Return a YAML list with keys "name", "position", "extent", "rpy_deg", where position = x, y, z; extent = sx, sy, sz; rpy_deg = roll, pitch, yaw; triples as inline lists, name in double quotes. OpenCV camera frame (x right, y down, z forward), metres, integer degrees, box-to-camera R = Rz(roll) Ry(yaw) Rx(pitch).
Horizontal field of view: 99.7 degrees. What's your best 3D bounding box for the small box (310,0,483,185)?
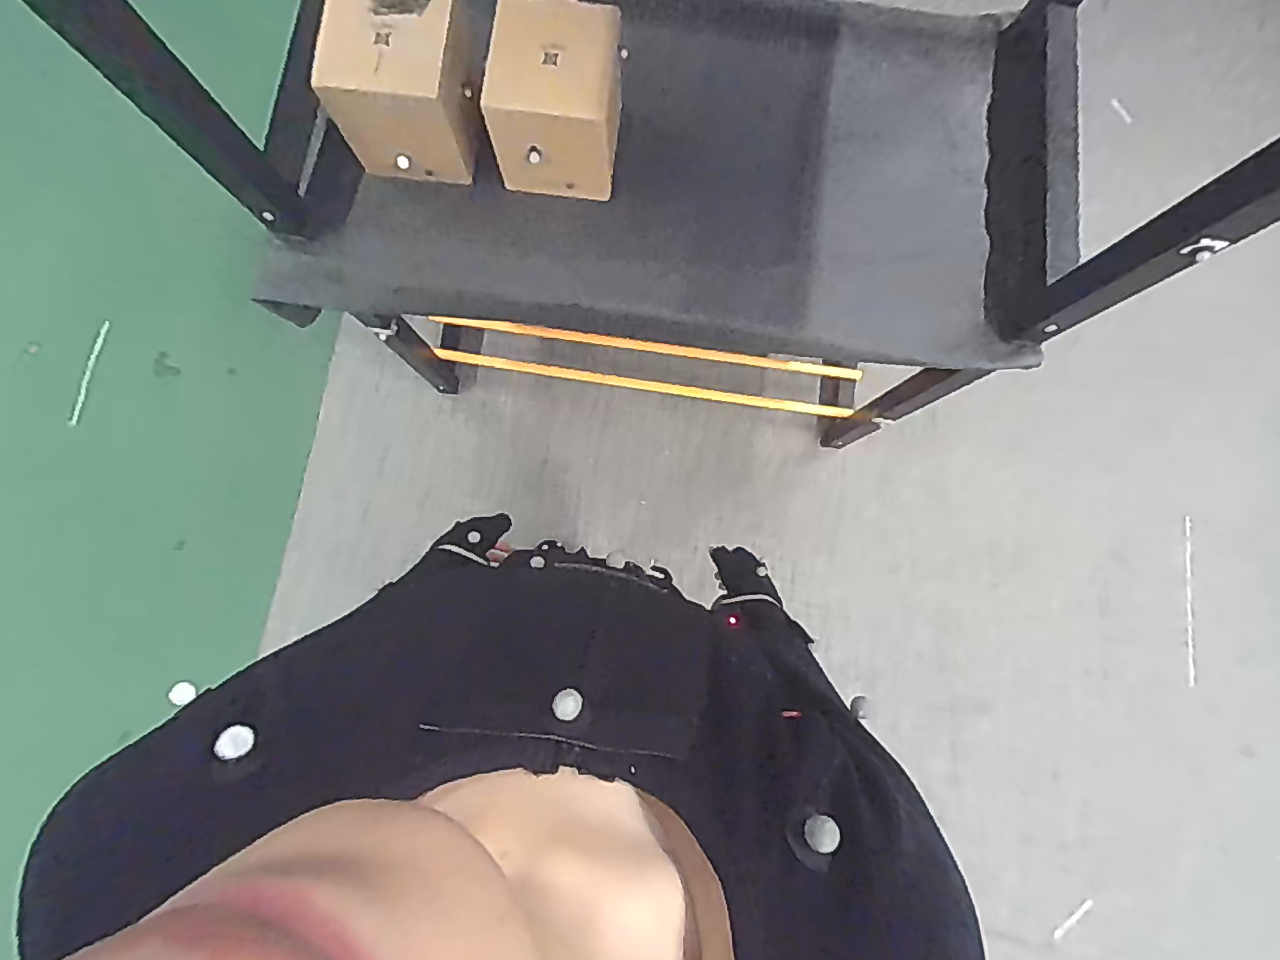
- name: "small box"
  position: [-0.336, -0.569, 0.784]
  extent: [0.168, 0.176, 0.179]
  rpy_deg: [6, 82, -1]
